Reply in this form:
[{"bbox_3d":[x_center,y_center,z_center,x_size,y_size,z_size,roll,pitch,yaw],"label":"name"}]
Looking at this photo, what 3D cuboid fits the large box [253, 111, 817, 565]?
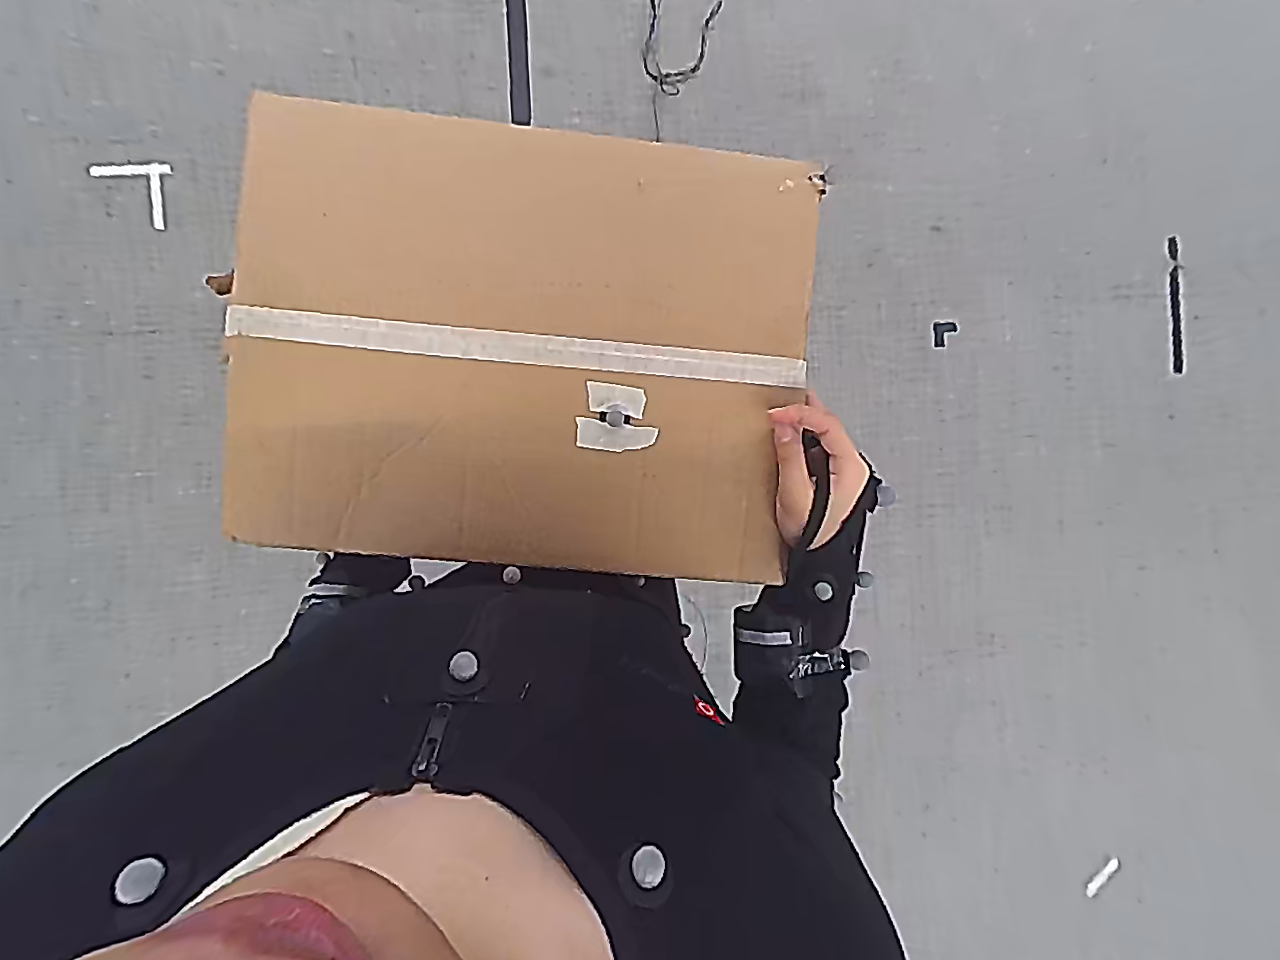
[{"bbox_3d":[-0.084,-0.101,0.546,0.408,0.320,0.320,4,92,-4],"label":"large box"}]
